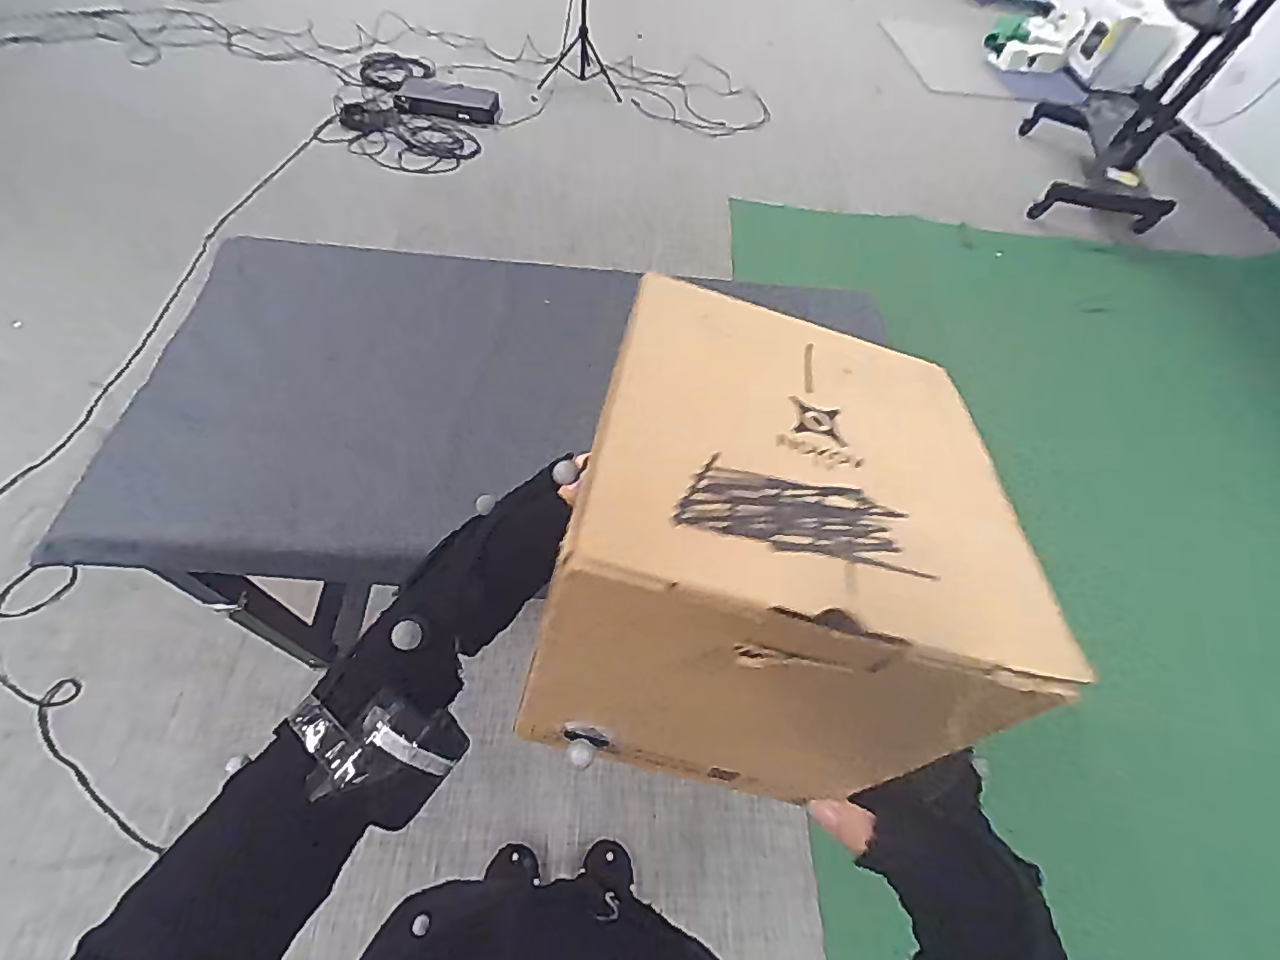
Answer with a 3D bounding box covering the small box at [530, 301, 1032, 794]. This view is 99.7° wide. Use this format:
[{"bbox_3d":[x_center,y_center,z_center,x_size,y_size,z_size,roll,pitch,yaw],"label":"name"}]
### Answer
[{"bbox_3d":[0.045,0.043,0.287,0.168,0.176,0.179,16,47,-5],"label":"small box"}]
